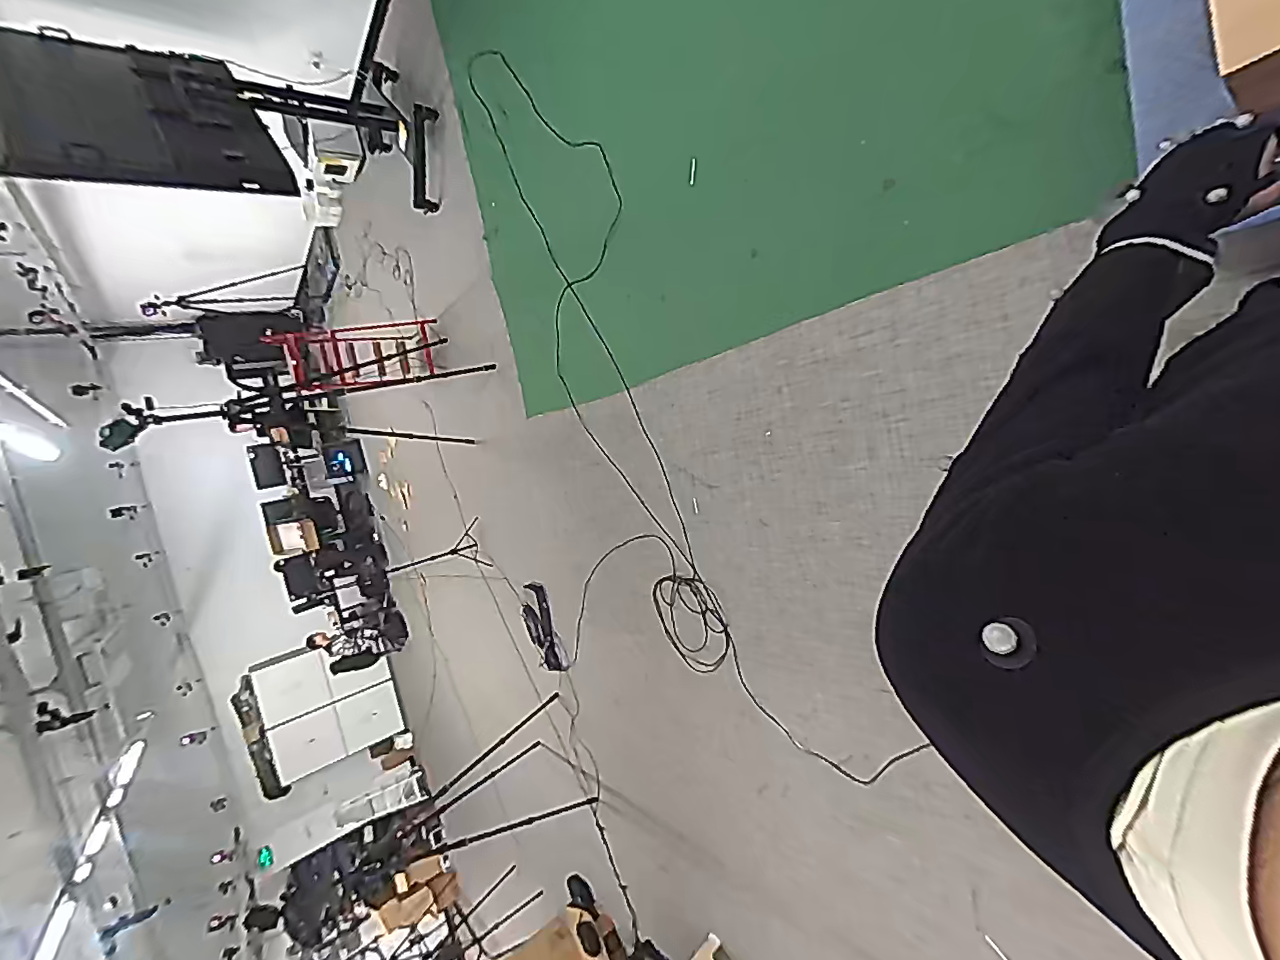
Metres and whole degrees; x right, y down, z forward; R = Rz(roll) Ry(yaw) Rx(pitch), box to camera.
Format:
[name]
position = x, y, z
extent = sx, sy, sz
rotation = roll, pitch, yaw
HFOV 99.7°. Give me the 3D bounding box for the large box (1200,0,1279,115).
[large box]
position = 0.973, -0.798, 0.713
extent = 0.320, 0.320, 0.408
rotation = -8, 96, 53
